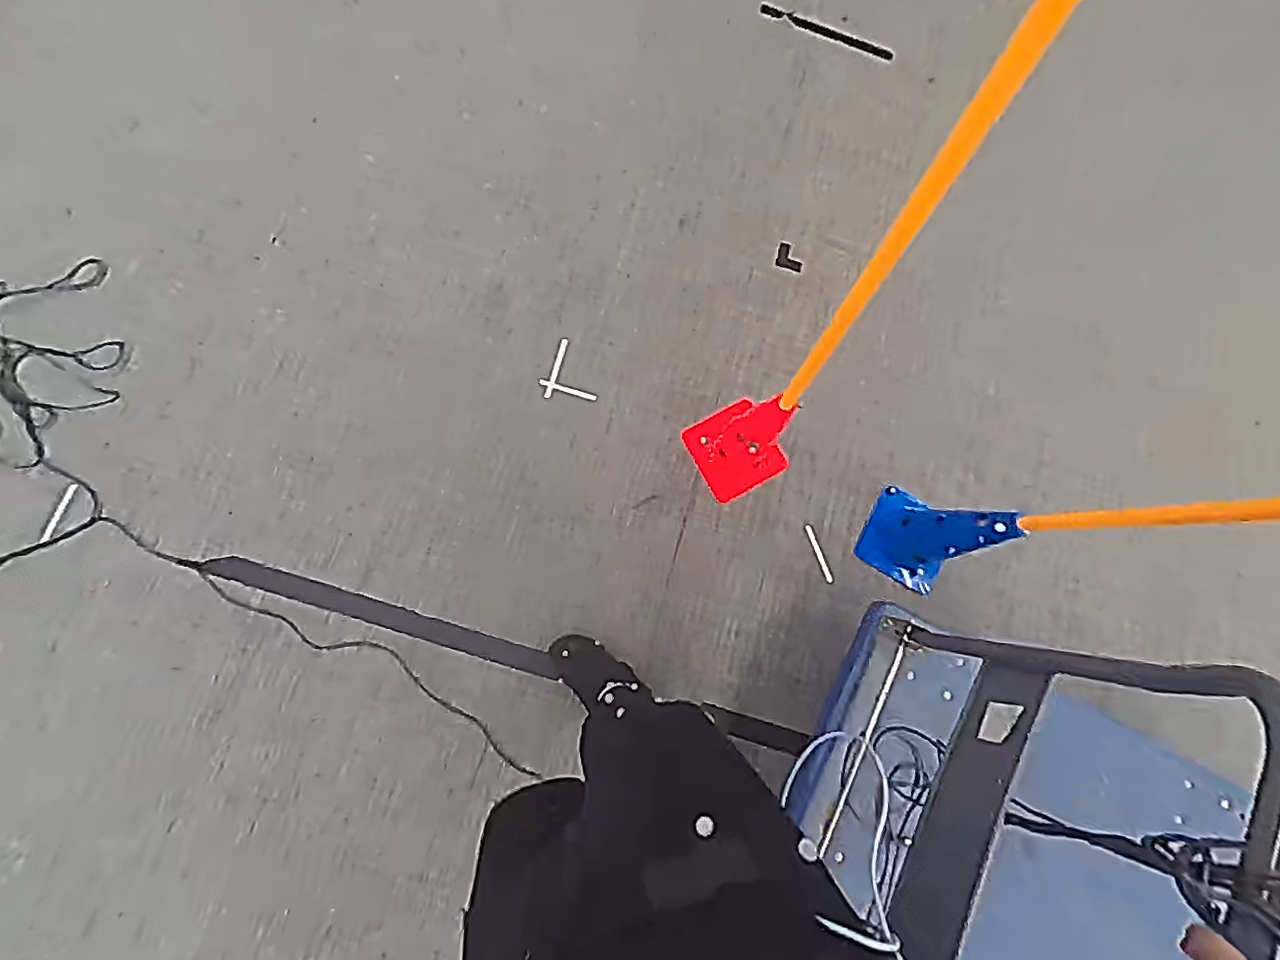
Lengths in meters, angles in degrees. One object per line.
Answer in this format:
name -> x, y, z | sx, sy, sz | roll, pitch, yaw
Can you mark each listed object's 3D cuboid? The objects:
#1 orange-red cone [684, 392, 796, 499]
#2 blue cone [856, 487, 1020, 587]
orange-red cone -> 0.238, -0.104, 1.096 | 0.198, 0.360, 0.199 | -27, 84, -8
blue cone -> 0.630, 0.103, 1.105 | 0.192, 0.380, 0.193 | 32, 78, 2
